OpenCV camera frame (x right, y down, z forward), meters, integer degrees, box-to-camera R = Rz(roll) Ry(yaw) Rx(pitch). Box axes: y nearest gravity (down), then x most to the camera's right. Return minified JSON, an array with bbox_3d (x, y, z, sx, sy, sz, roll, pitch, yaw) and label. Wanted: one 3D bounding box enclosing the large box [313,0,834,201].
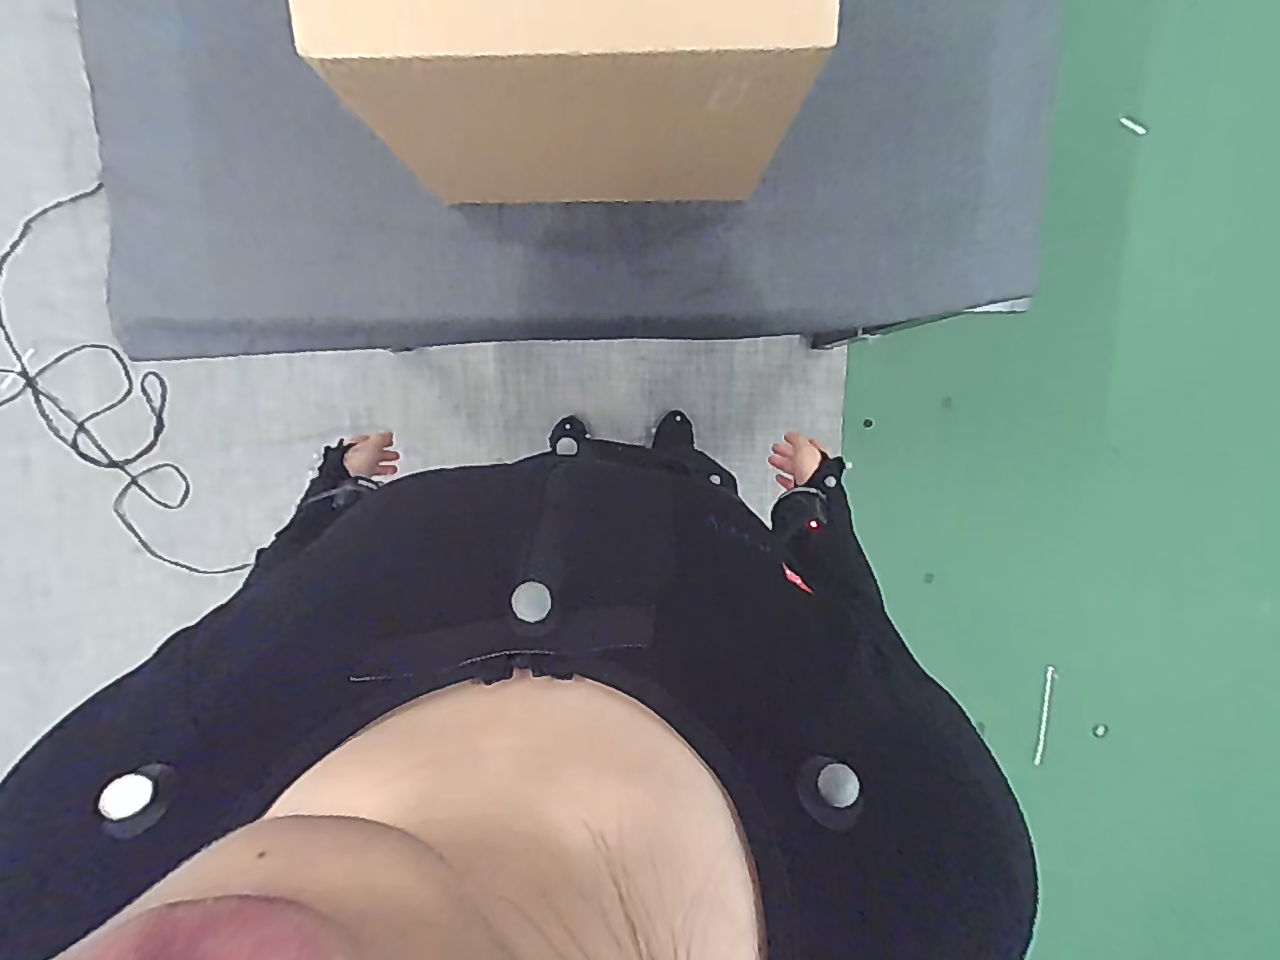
[{"bbox_3d":[-0.057,-0.501,0.542,0.408,0.320,0.320,-2,99,-1],"label":"large box"}]
